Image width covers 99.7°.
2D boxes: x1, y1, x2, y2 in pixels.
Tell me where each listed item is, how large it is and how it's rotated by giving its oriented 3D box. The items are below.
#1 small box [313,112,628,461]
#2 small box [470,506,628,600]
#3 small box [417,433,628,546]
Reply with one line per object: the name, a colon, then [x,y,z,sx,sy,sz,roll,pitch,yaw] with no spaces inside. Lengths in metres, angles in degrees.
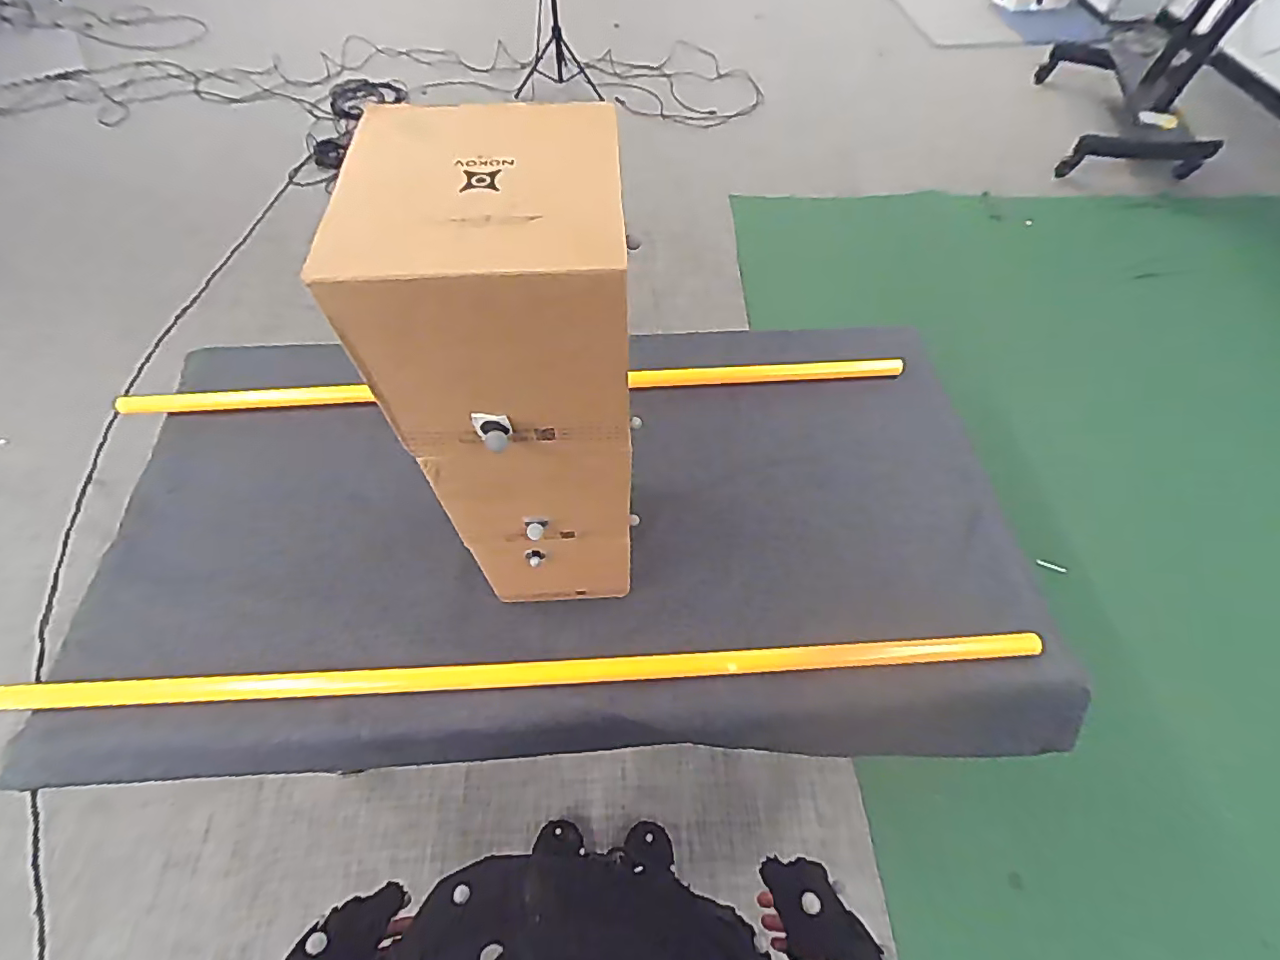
small box: [-0.096,-0.133,0.394,0.168,0.176,0.179,-4,60,-2]
small box: [-0.101,0.034,0.673,0.168,0.176,0.179,-3,58,-3]
small box: [-0.100,-0.051,0.533,0.168,0.176,0.179,-3,59,-3]
